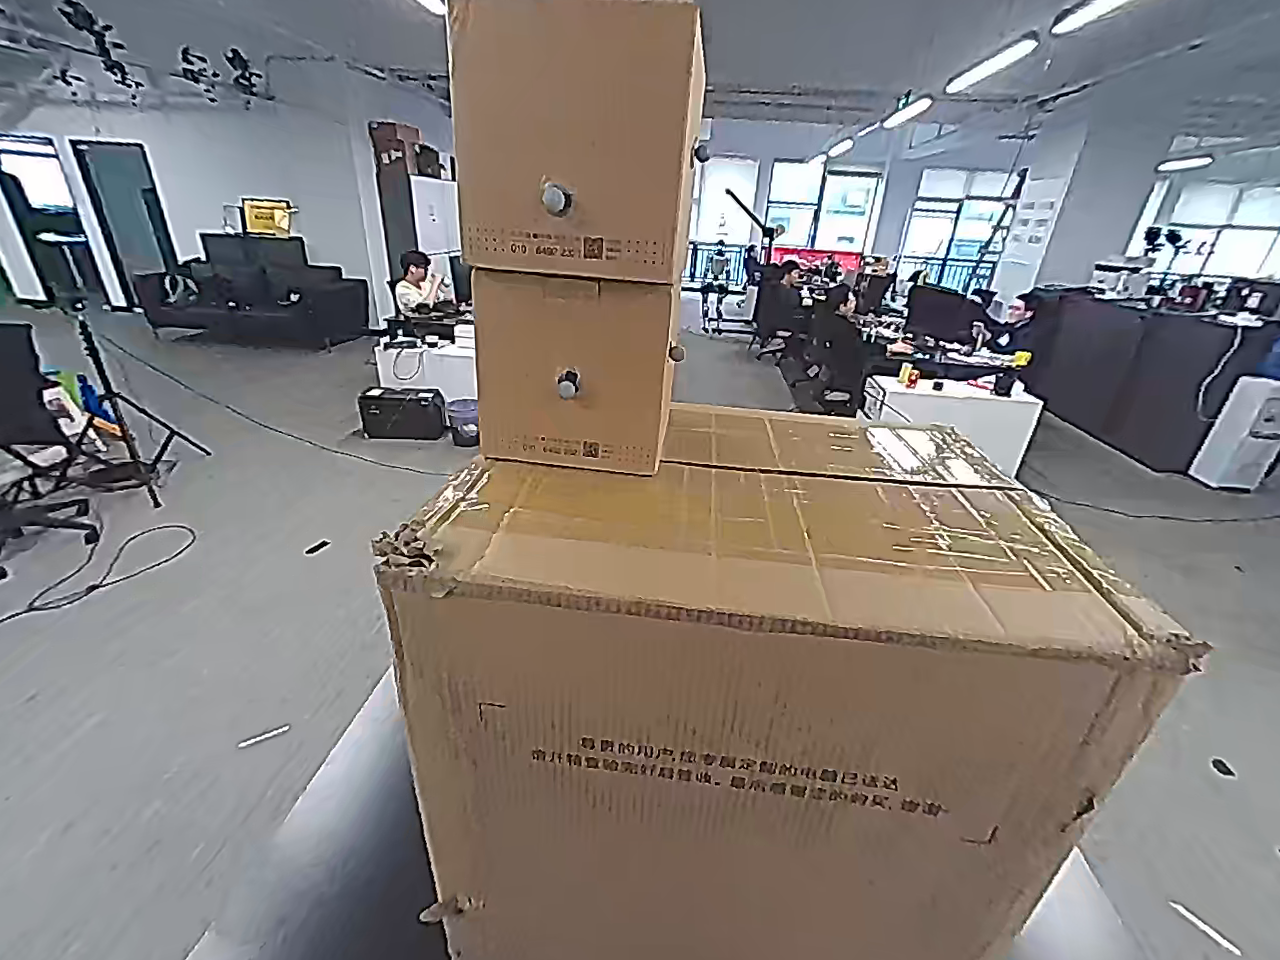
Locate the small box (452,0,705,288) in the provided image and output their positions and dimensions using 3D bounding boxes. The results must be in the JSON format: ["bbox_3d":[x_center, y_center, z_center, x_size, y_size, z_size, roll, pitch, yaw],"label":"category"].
[{"bbox_3d":[-0.040,-0.263,0.453,0.168,0.176,0.179,6,26,5],"label":"small box"}]

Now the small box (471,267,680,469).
[{"bbox_3d":[-0.051,-0.122,0.539,0.168,0.176,0.179,6,26,4],"label":"small box"}]
